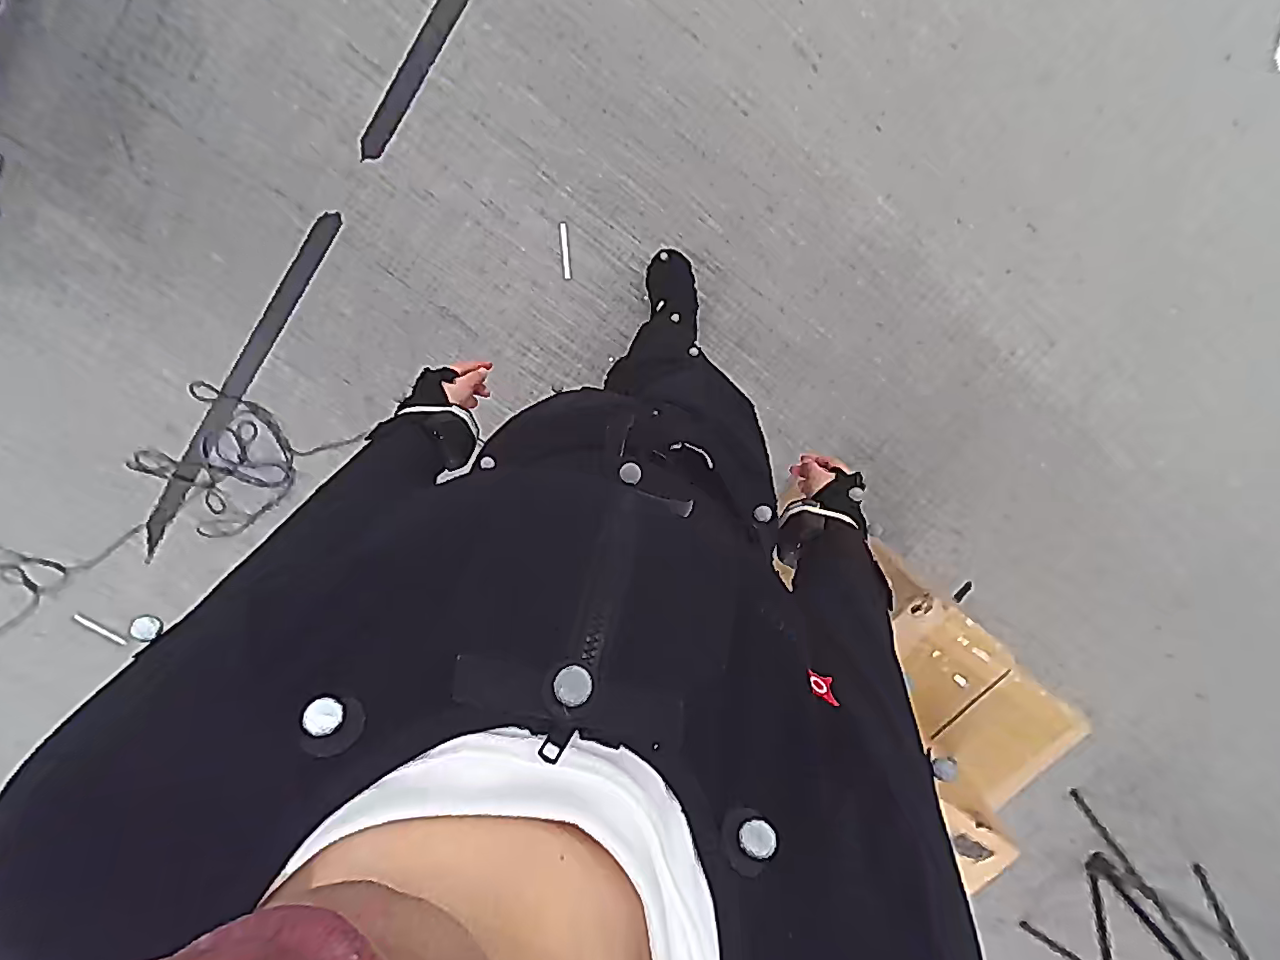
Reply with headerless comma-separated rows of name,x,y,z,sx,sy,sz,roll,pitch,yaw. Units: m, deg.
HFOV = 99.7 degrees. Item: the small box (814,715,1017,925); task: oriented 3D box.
small box,0.394,0.495,0.808,0.168,0.176,0.179,37,103,-11
